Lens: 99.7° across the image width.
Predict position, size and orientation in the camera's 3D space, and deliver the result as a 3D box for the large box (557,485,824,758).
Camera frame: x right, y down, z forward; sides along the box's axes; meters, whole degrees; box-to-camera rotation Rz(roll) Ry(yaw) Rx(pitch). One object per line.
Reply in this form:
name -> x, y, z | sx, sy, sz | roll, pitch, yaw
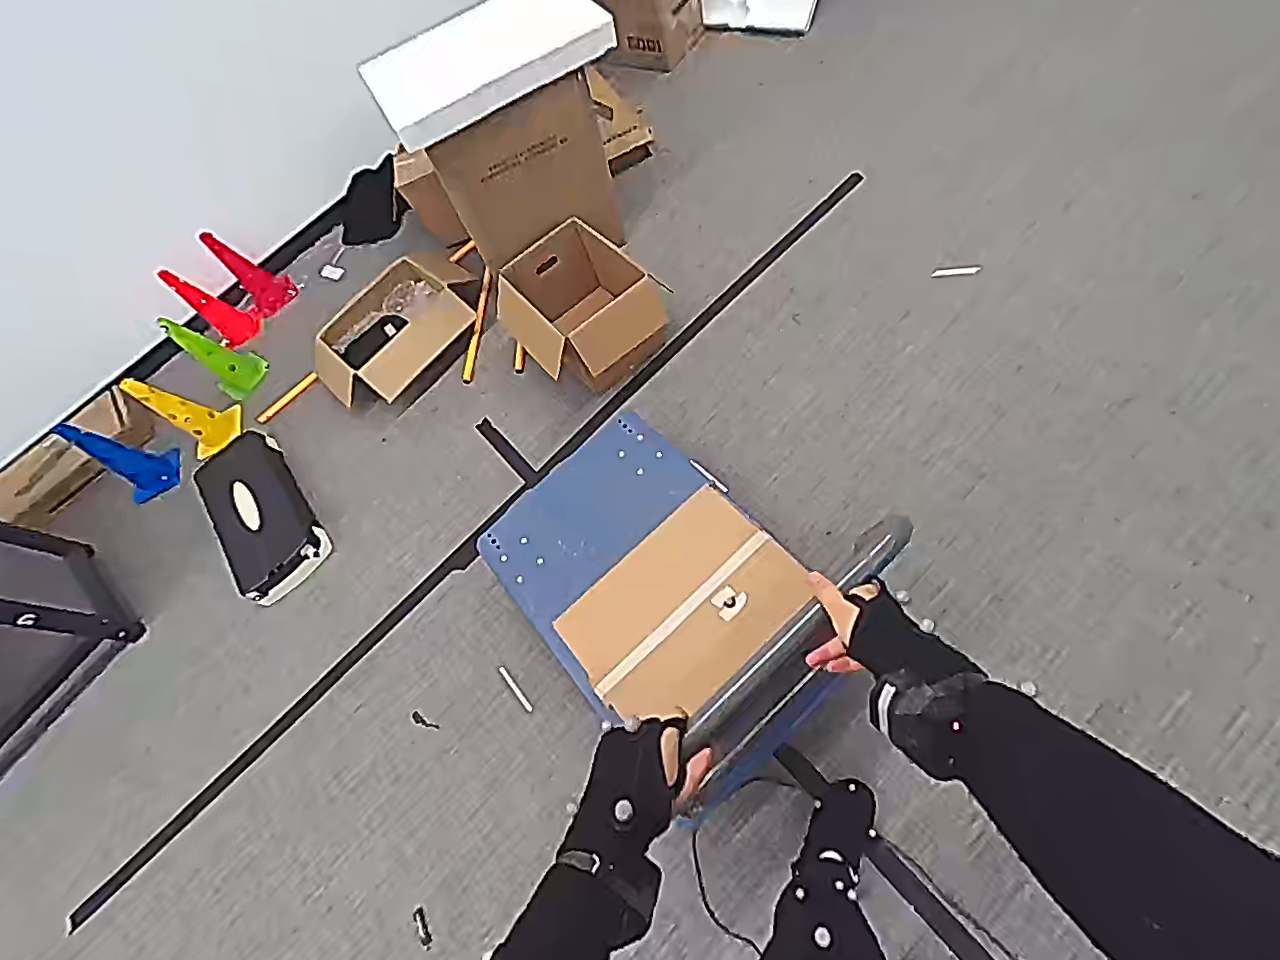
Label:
large box -> 0.113, 0.297, 1.103 | 0.408, 0.320, 0.320 | -42, 62, -8
